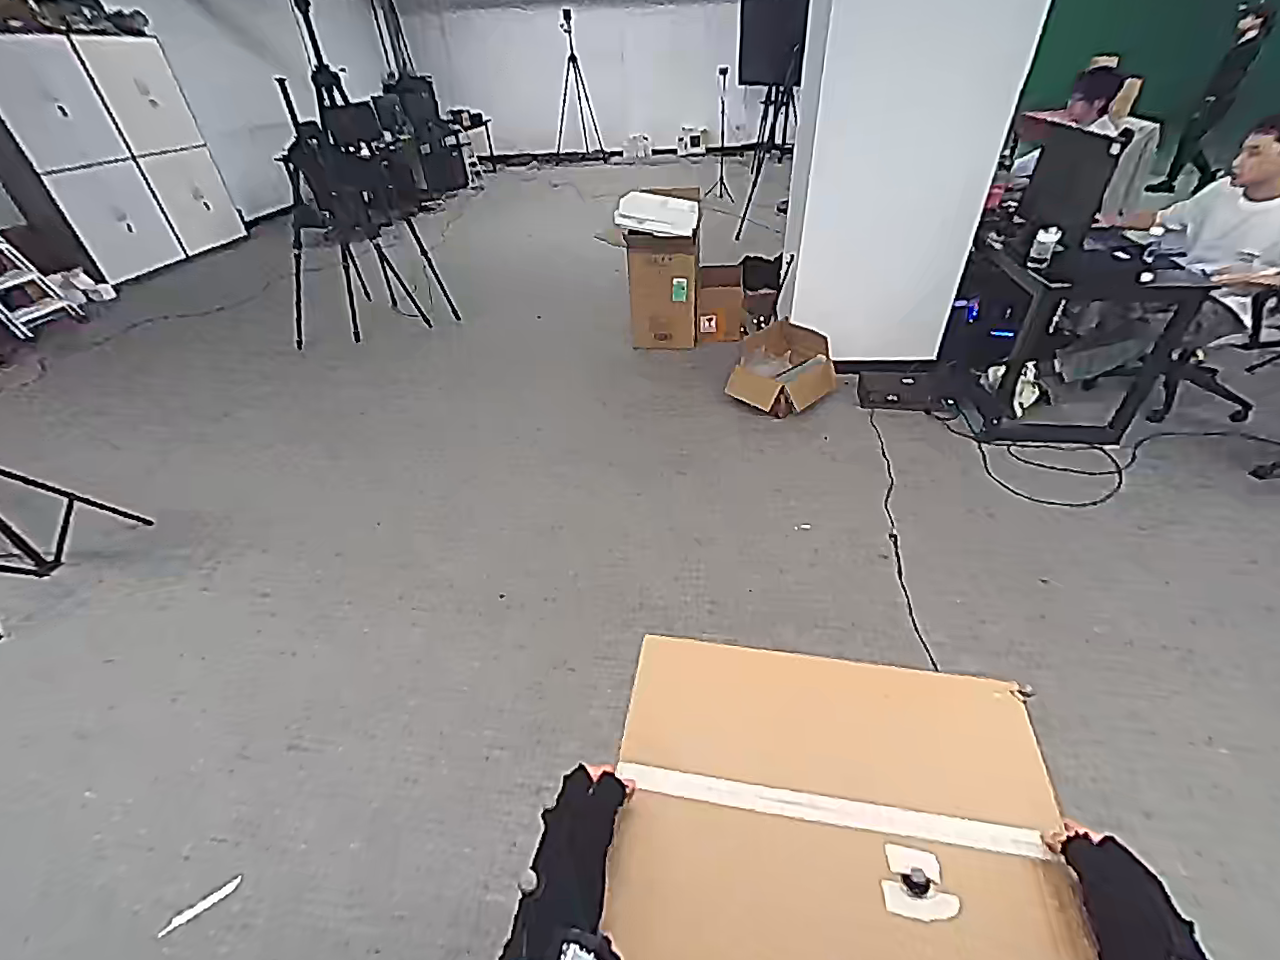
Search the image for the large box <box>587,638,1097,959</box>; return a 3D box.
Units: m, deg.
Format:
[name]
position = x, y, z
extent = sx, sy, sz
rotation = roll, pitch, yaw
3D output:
[large box]
position = 0.182, 0.415, 0.609
extent = 0.408, 0.320, 0.320
rotation = 5, 44, 10
